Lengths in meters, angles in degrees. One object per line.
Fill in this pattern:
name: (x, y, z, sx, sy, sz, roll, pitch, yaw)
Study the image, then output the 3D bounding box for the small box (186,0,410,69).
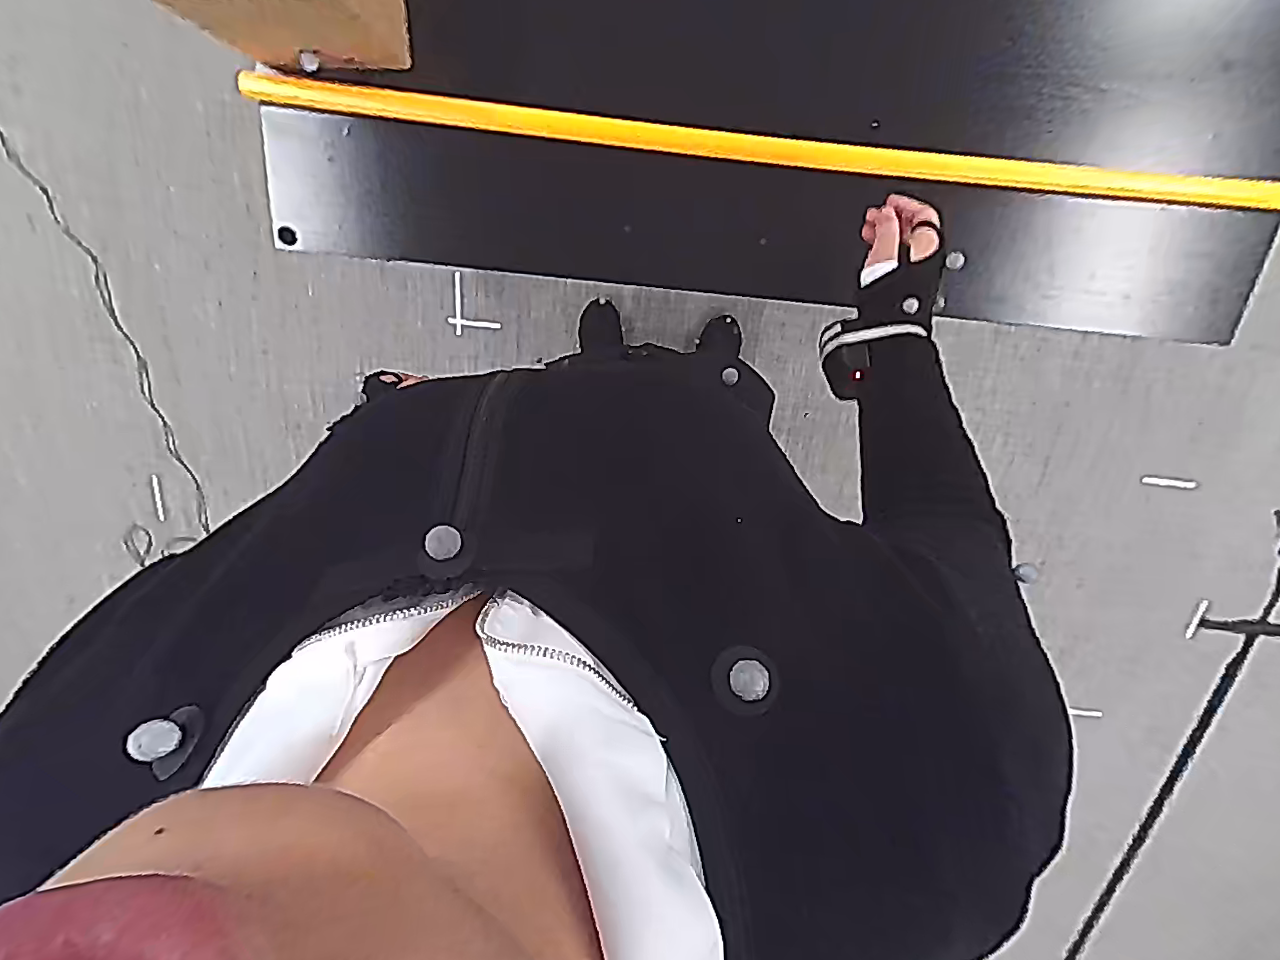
small box: (-0.336, -0.523, 0.505, 0.168, 0.176, 0.179, 1, 110, 0)
